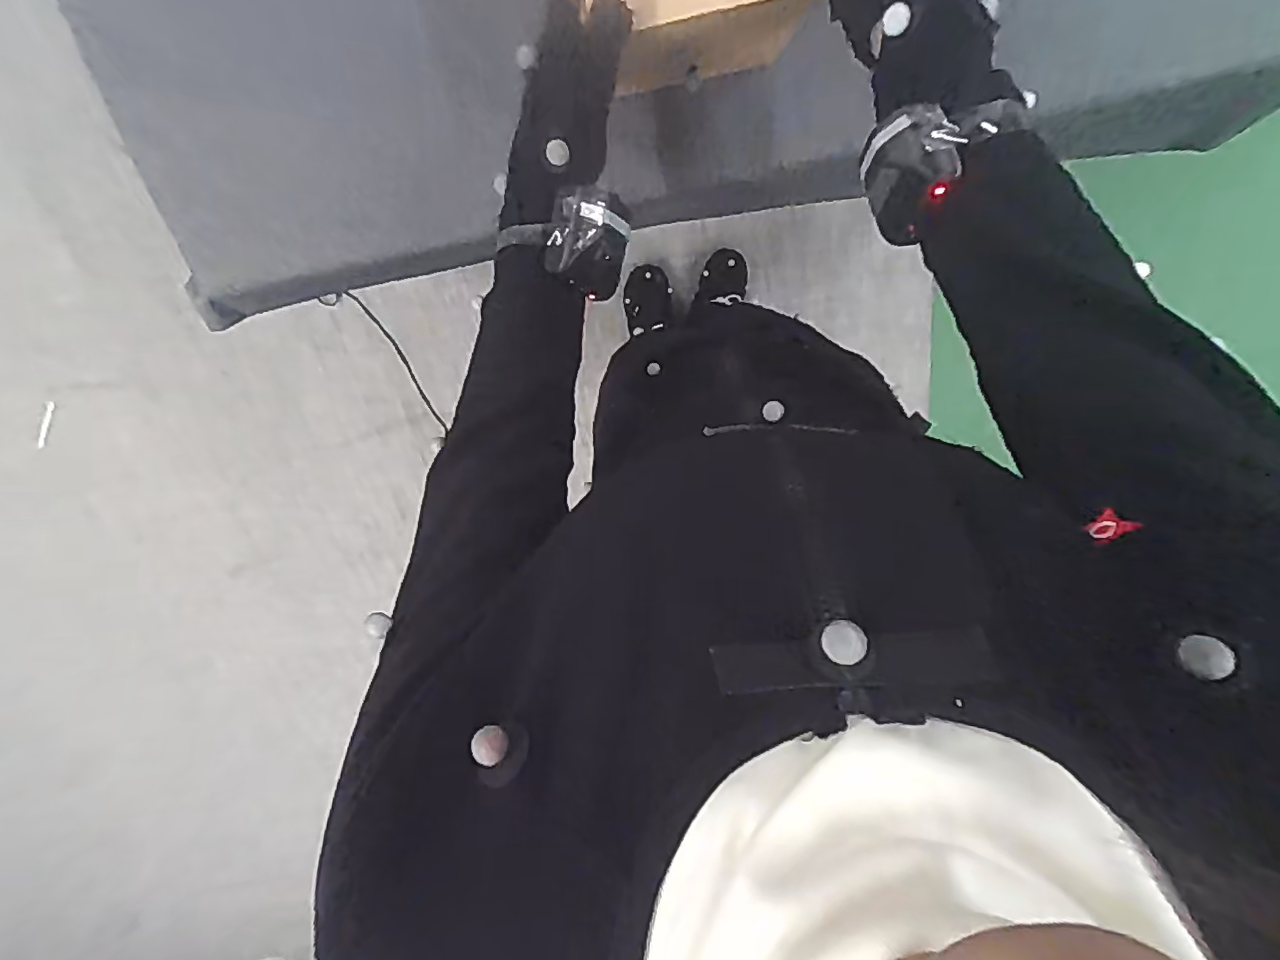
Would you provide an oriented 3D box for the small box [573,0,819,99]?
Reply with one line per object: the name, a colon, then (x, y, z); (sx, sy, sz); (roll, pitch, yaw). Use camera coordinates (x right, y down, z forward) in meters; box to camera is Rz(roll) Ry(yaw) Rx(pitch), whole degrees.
small box: (0.028, -0.431, 0.427); (0.179, 0.176, 0.168); (-10, 112, 2)
